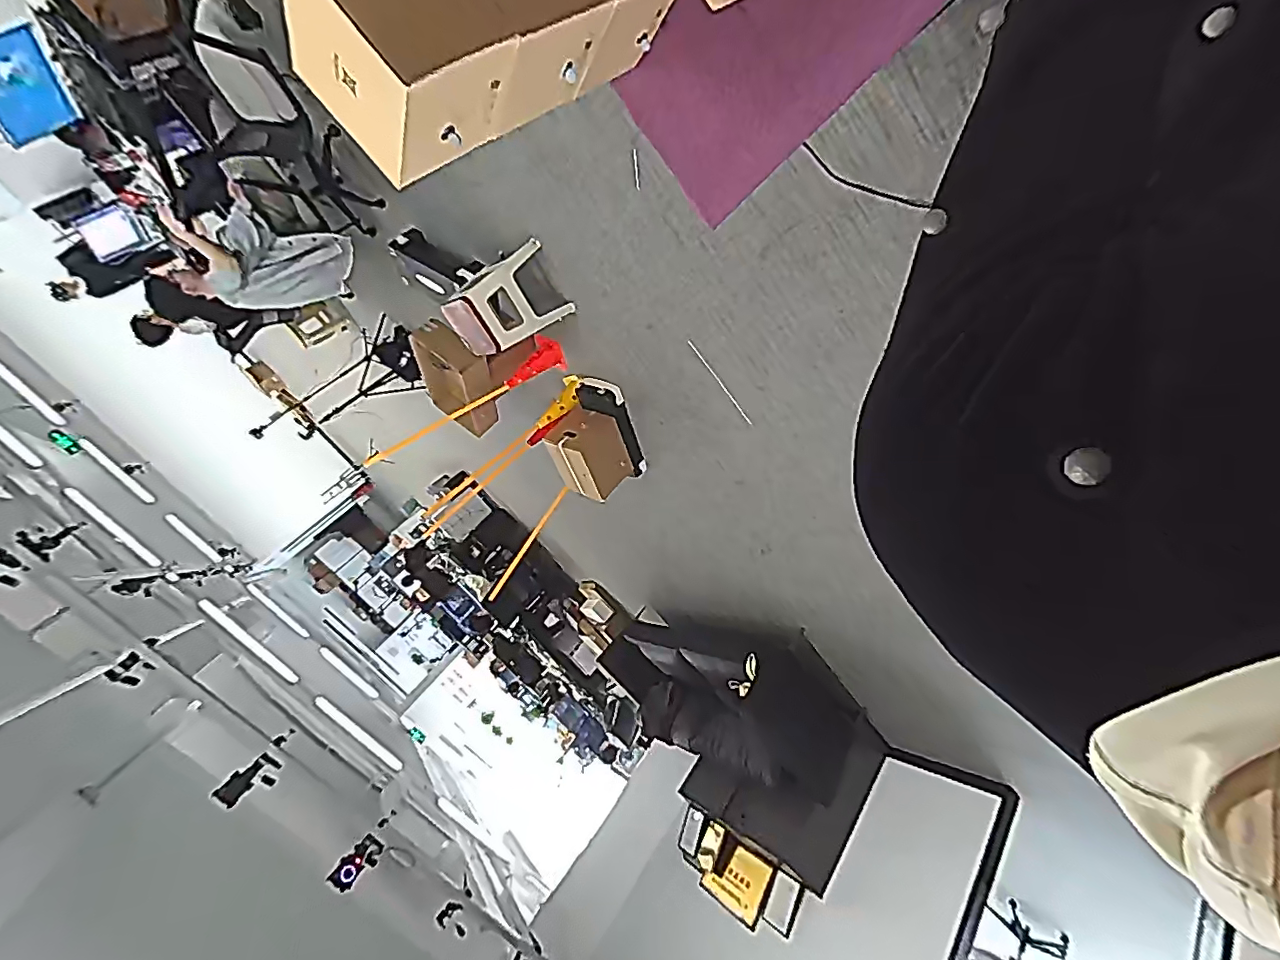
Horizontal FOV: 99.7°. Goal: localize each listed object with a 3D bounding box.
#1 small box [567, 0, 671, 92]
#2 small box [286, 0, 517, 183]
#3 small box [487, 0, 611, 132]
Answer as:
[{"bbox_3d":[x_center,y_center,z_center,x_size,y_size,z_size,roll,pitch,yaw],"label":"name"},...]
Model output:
[{"bbox_3d":[-0.072,-0.717,0.771,0.179,0.176,0.168,48,154,-13],"label":"small box"},{"bbox_3d":[-0.271,-0.501,0.629,0.179,0.176,0.168,49,155,-11],"label":"small box"},{"bbox_3d":[-0.172,-0.609,0.698,0.179,0.176,0.168,48,154,-12],"label":"small box"}]
